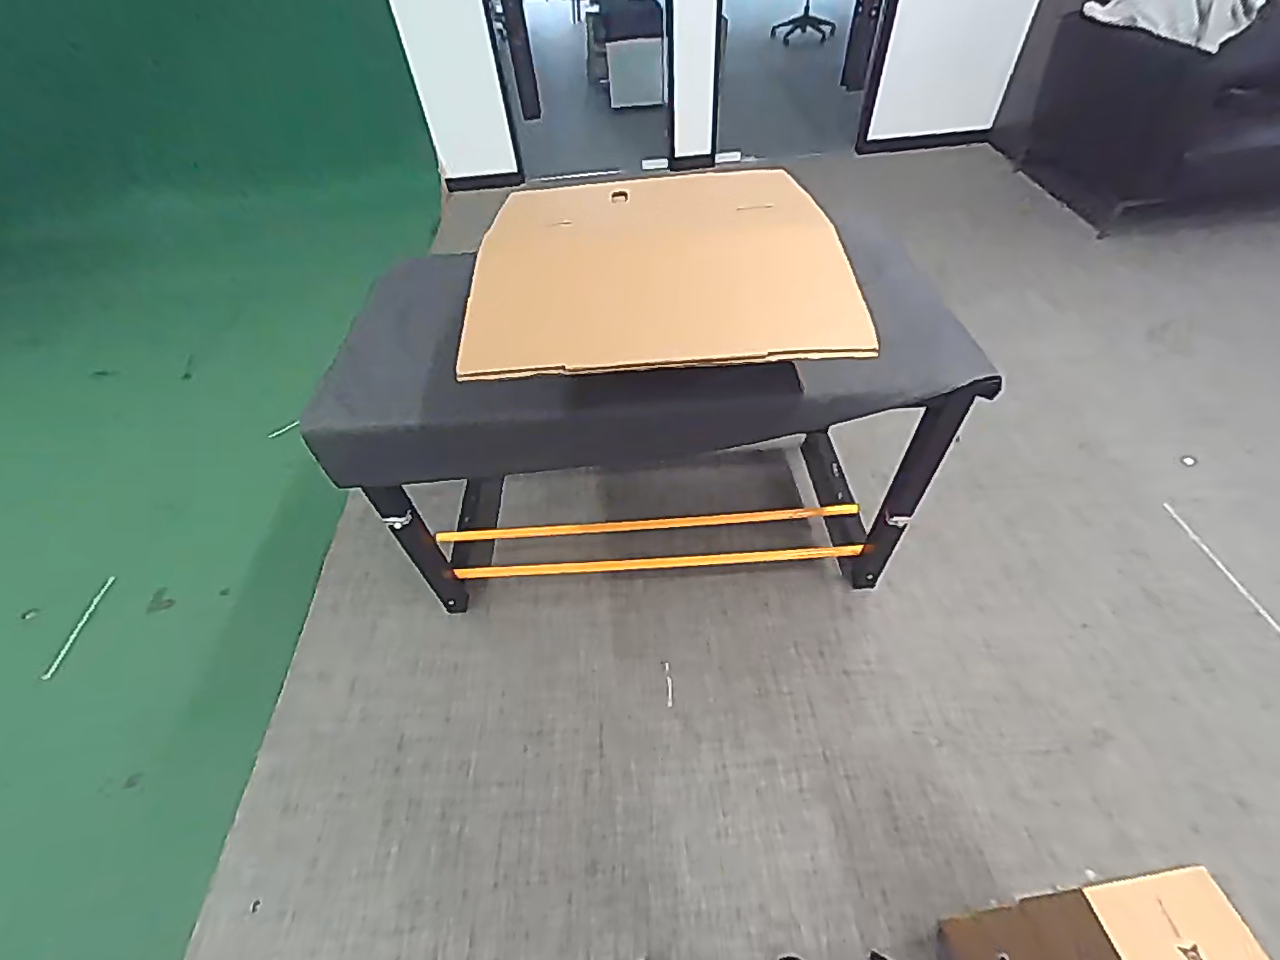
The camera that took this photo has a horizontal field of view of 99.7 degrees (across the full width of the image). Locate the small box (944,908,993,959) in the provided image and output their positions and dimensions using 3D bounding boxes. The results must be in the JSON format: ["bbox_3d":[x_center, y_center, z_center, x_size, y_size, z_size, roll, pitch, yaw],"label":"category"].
[{"bbox_3d":[0.656,0.836,0.917,0.168,0.176,0.179,-8,49,-3],"label":"small box"}]

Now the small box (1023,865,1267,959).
[{"bbox_3d":[0.640,0.611,0.679,0.168,0.176,0.179,-8,47,-3],"label":"small box"}]

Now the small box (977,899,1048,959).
[{"bbox_3d":[0.651,0.721,0.801,0.179,0.176,0.168,-9,48,-3],"label":"small box"}]
